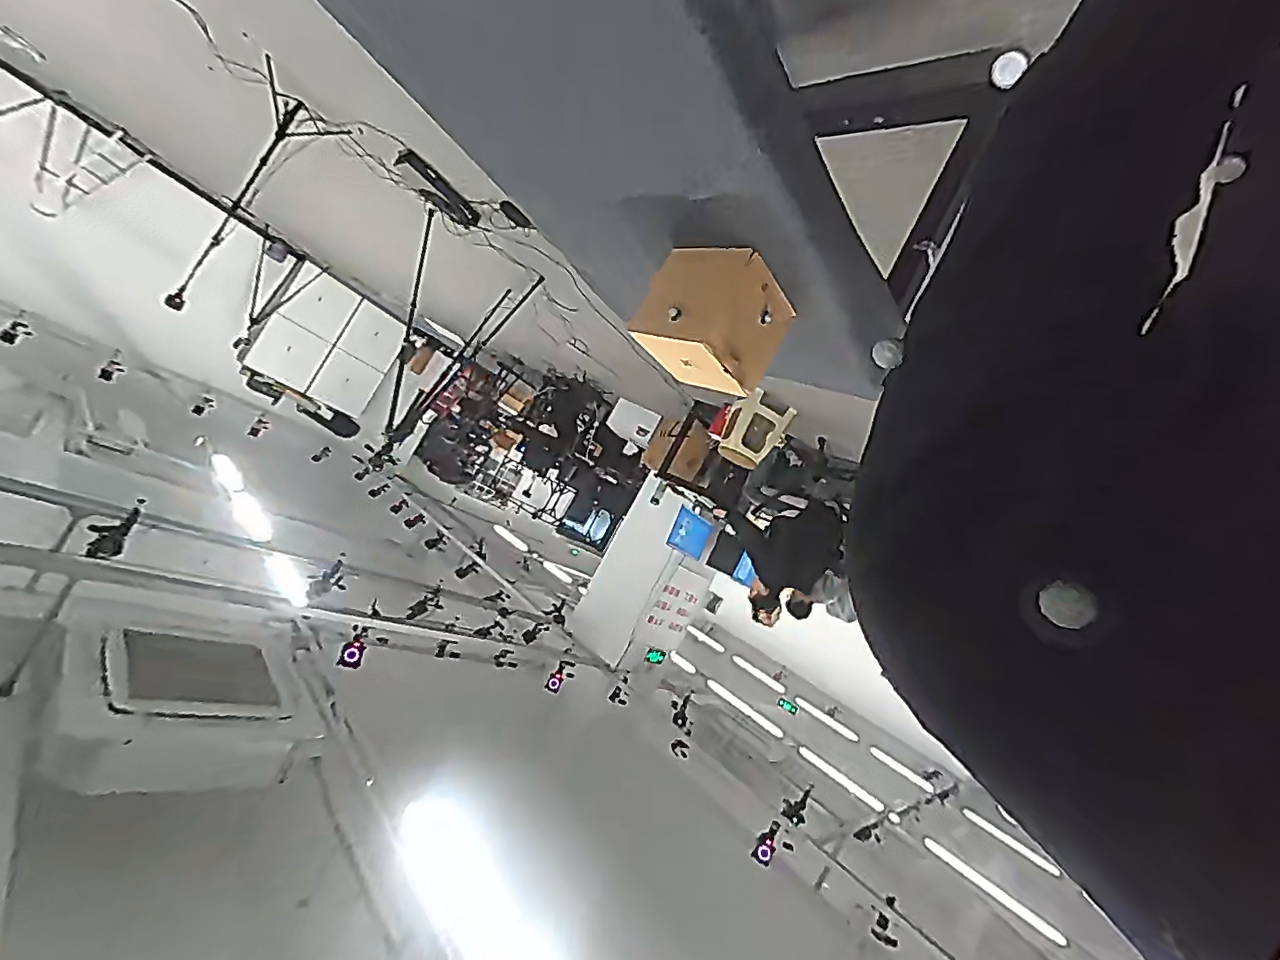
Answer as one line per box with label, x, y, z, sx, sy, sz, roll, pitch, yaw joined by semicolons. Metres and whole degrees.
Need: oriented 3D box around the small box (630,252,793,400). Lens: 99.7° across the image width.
small box;0.122;-0.261;0.903;0.179;0.176;0.168;24;173;44
